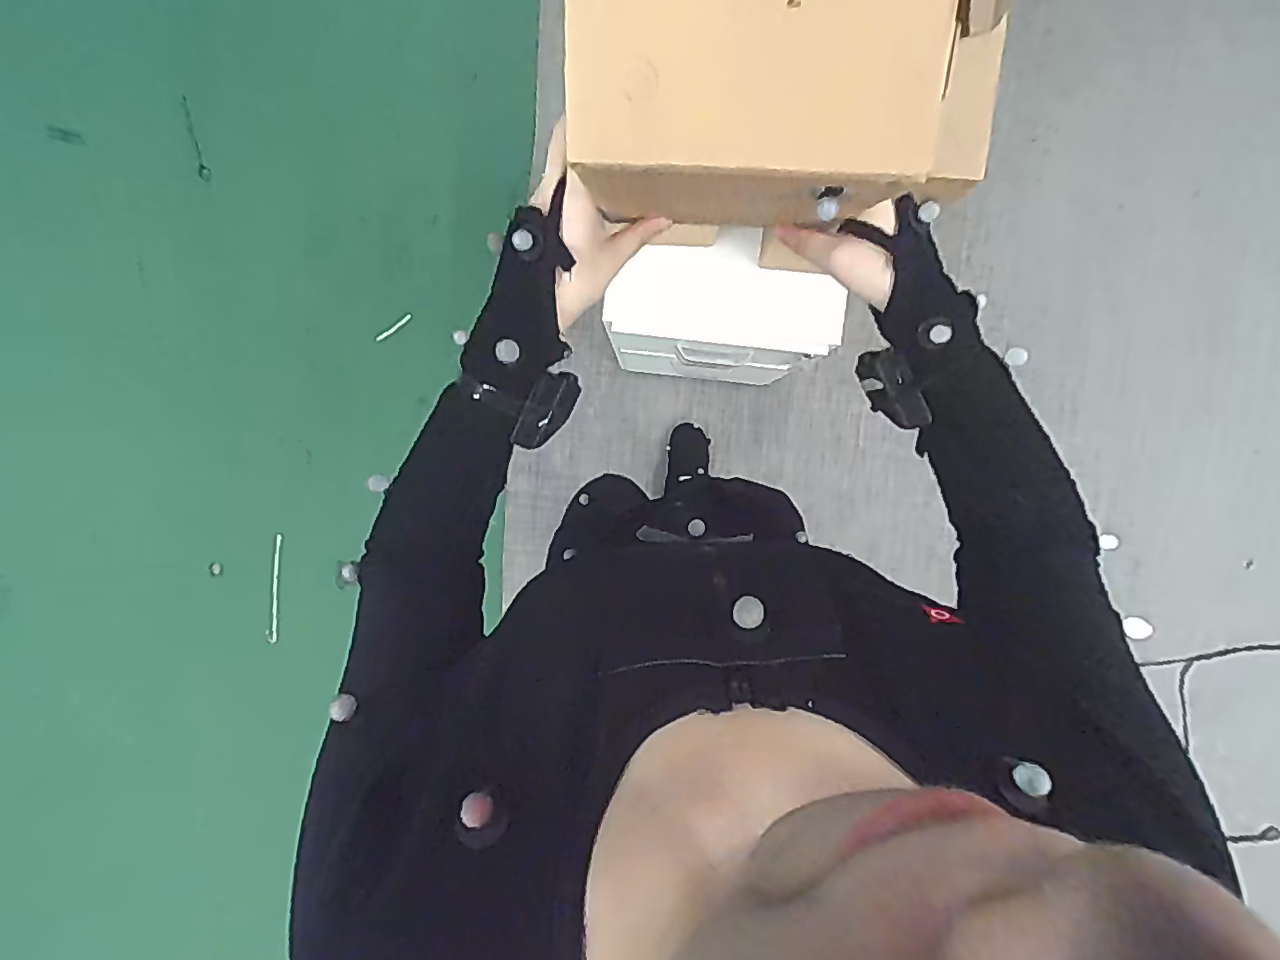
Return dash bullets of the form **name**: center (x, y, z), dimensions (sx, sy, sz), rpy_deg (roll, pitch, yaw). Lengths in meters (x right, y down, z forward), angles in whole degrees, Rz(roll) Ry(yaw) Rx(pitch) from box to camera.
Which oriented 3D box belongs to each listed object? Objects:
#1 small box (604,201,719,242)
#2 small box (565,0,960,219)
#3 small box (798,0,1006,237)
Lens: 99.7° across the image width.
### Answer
- **small box**: center (0.036, -0.463, 0.794), dimensions (0.179, 0.176, 0.168), rpy_deg (2, 94, 0)
- **small box**: center (0.056, -0.253, 0.309), dimensions (0.179, 0.176, 0.168), rpy_deg (2, 108, 0)
- **small box**: center (0.277, -0.401, 0.625), dimensions (0.168, 0.176, 0.179), rpy_deg (6, 94, 2)
